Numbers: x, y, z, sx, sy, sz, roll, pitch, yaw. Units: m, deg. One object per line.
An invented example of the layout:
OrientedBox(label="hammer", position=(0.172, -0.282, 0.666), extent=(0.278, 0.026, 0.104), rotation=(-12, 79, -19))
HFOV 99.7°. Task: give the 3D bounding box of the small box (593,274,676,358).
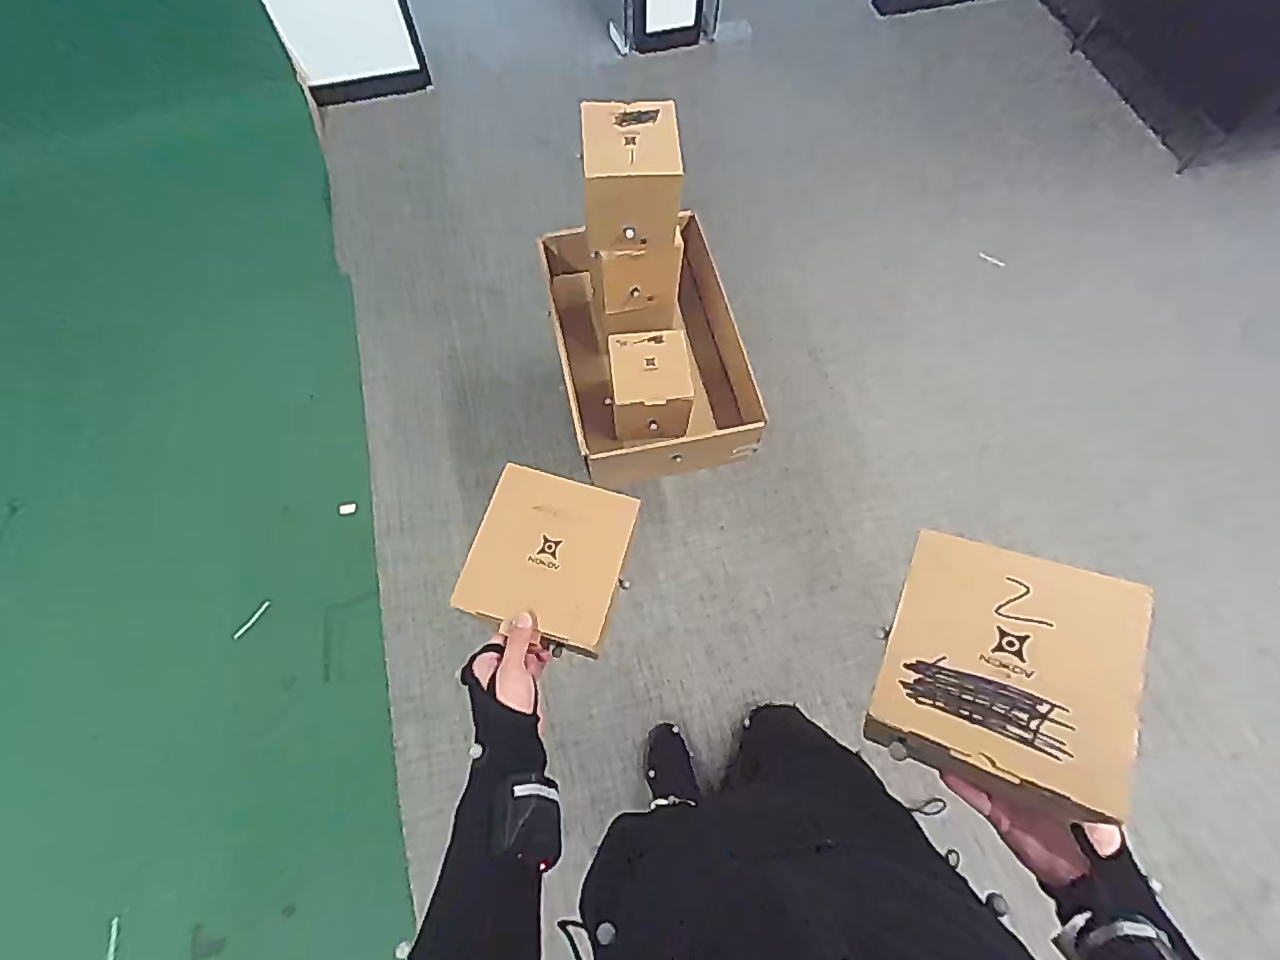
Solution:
OrientedBox(label="small box", position=(-0.019, -0.423, 1.303), extent=(0.168, 0.176, 0.179), rotation=(-12, 69, -5))

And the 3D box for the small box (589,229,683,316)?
OrientedBox(label="small box", position=(-0.016, -0.480, 1.151), extent=(0.168, 0.176, 0.179), rotation=(-12, 70, -6))

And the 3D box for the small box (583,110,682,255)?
OrientedBox(label="small box", position=(-0.018, -0.544, 1.000), extent=(0.168, 0.176, 0.179), rotation=(-3, 70, -3))

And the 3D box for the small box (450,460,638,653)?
OrientedBox(label="small box", position=(-0.105, 0.105, 0.673), extent=(0.168, 0.176, 0.179), rotation=(17, 68, 4))
